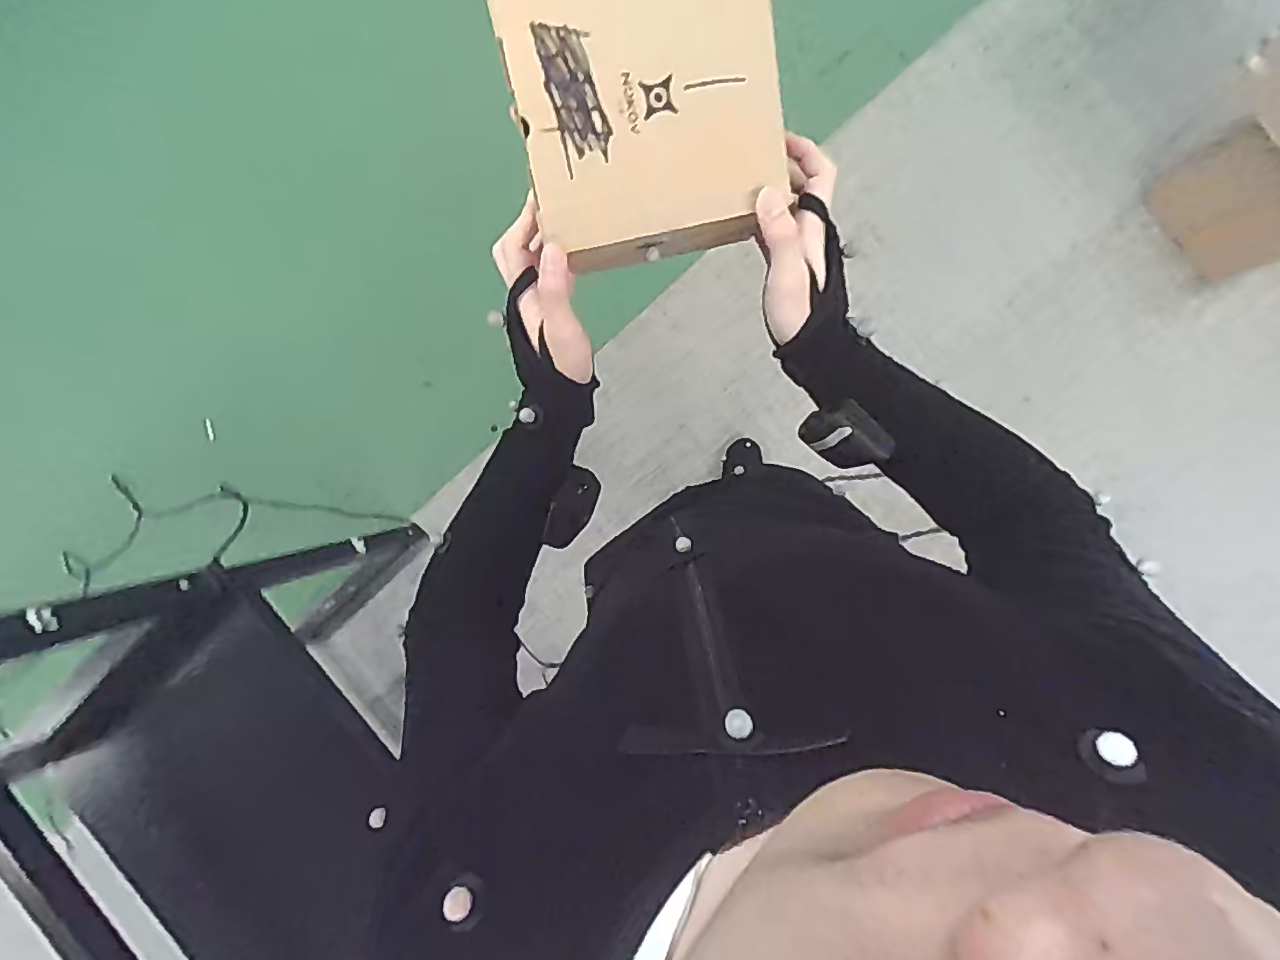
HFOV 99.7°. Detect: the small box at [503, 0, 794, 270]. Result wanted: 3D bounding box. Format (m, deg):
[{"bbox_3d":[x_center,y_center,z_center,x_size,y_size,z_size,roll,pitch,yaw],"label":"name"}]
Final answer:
[{"bbox_3d":[0.011,-0.275,0.436,0.179,0.176,0.168,-10,106,3],"label":"small box"}]
